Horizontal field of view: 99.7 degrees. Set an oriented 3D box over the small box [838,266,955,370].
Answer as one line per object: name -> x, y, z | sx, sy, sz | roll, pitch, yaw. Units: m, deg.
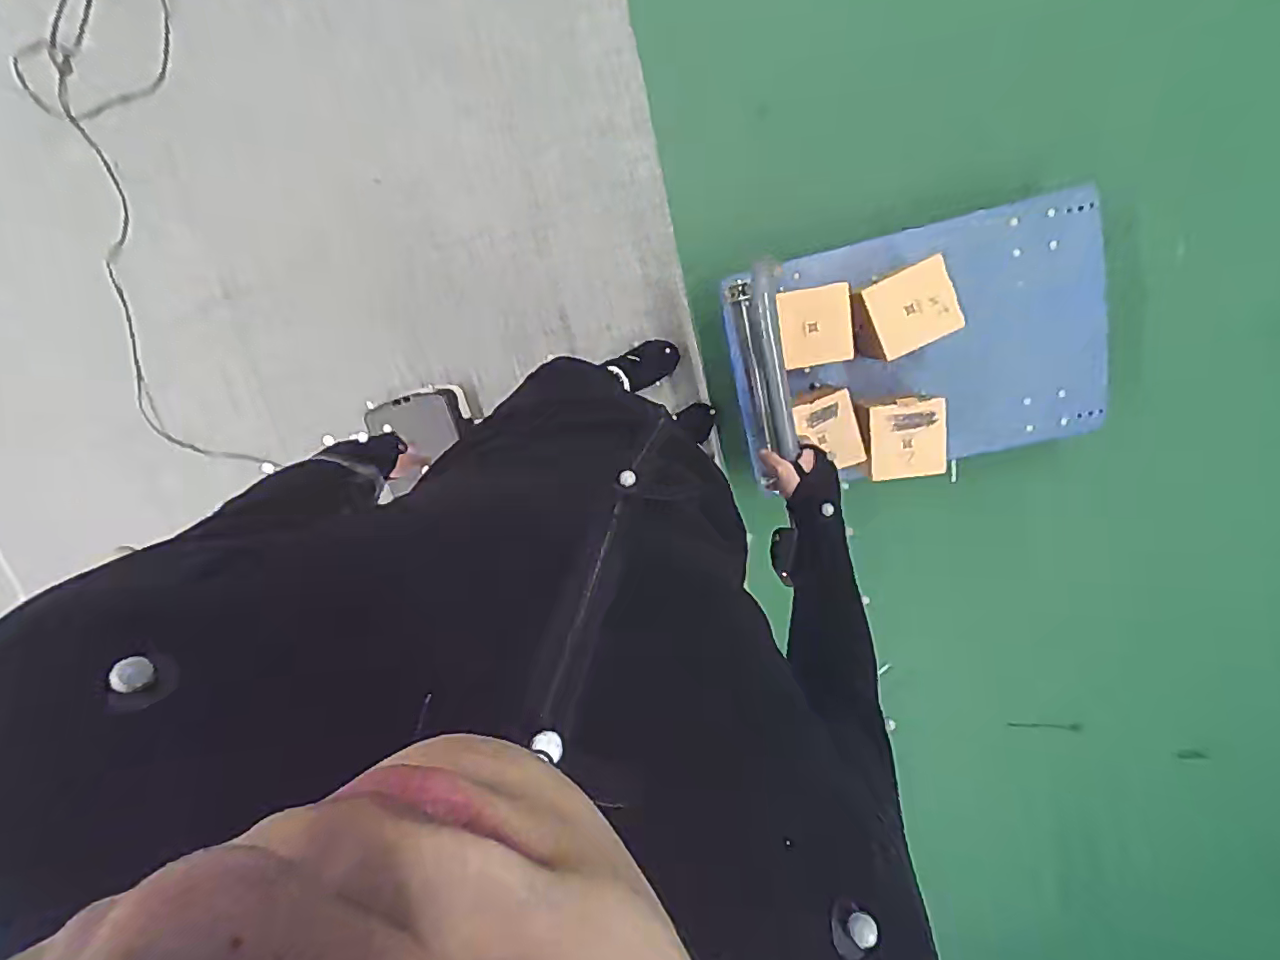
small box -> 0.572, -0.362, 1.235 | 0.179, 0.176, 0.168 | -24, 101, 9
